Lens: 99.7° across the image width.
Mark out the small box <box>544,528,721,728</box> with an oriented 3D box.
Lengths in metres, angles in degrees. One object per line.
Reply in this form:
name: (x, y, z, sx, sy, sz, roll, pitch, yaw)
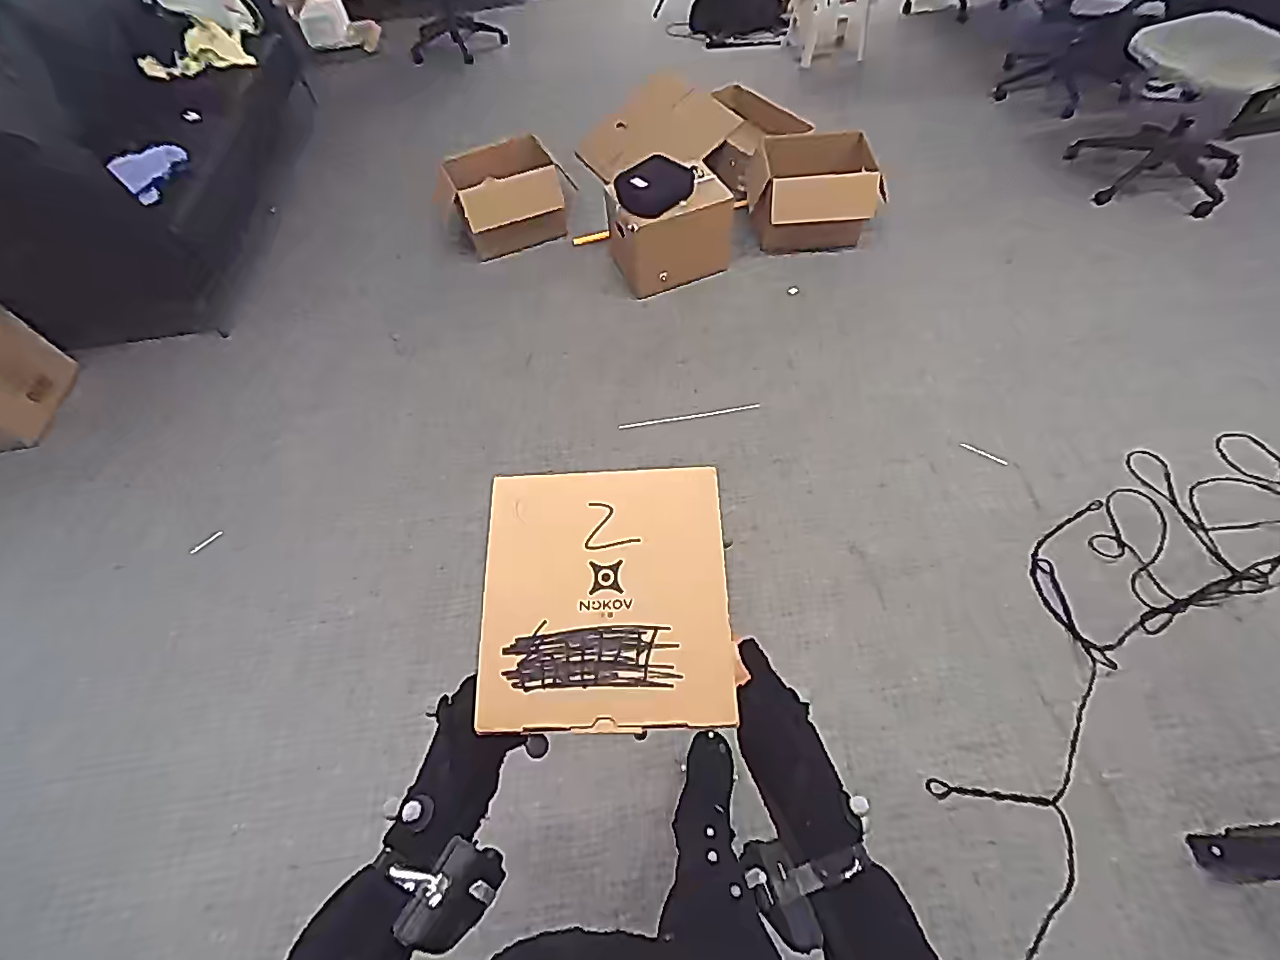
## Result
small box: (-0.007, 0.170, 0.603, 0.168, 0.176, 0.179, -5, 61, 2)
